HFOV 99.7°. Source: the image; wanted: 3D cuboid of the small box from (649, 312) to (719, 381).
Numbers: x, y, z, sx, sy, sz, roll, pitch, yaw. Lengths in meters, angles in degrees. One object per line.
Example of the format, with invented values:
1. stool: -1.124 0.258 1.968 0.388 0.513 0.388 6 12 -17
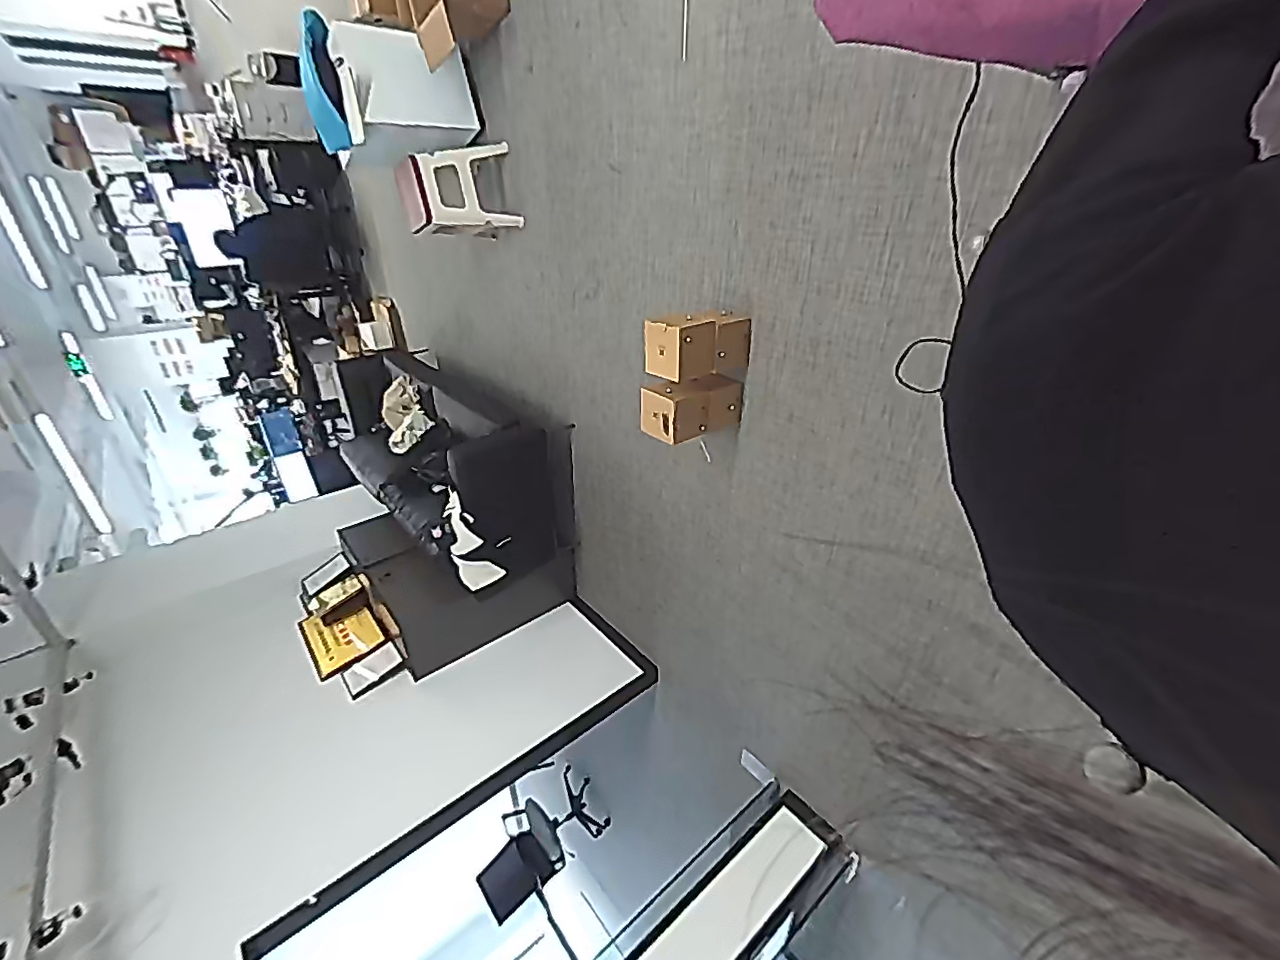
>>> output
1. small box: 0.145 -0.447 1.793 0.168 0.176 0.179 28 129 43

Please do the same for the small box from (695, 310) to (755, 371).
1. small box: 0.274 -0.492 1.884 0.179 0.176 0.168 29 131 43
